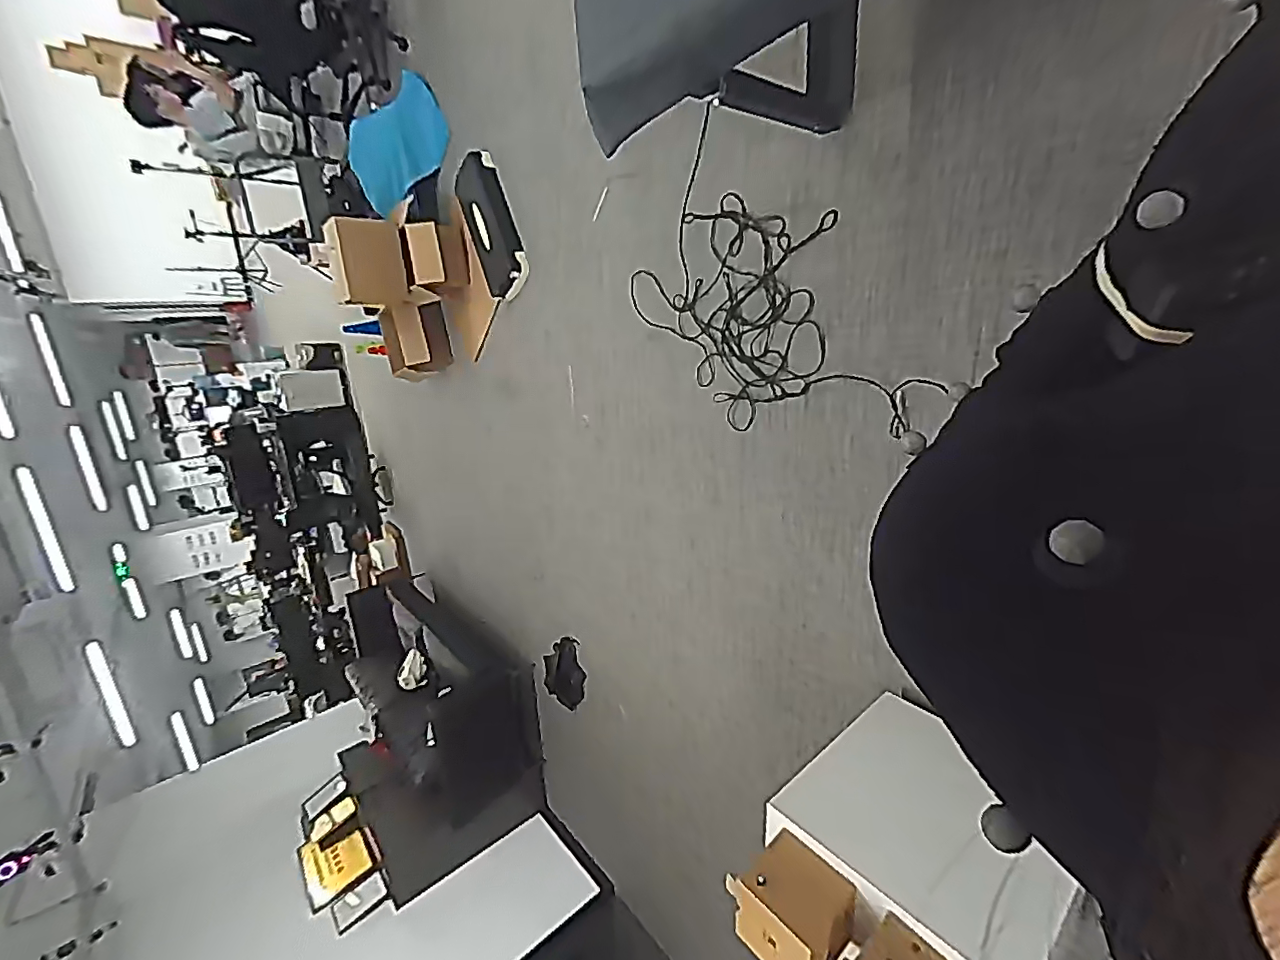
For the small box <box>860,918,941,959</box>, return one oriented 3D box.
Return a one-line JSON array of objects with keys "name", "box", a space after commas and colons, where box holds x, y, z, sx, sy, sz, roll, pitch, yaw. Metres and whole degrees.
[{"name": "small box", "box": [0.459, 0.924, 0.932, 0.168, 0.176, 0.179, 24, 122, 47]}]
